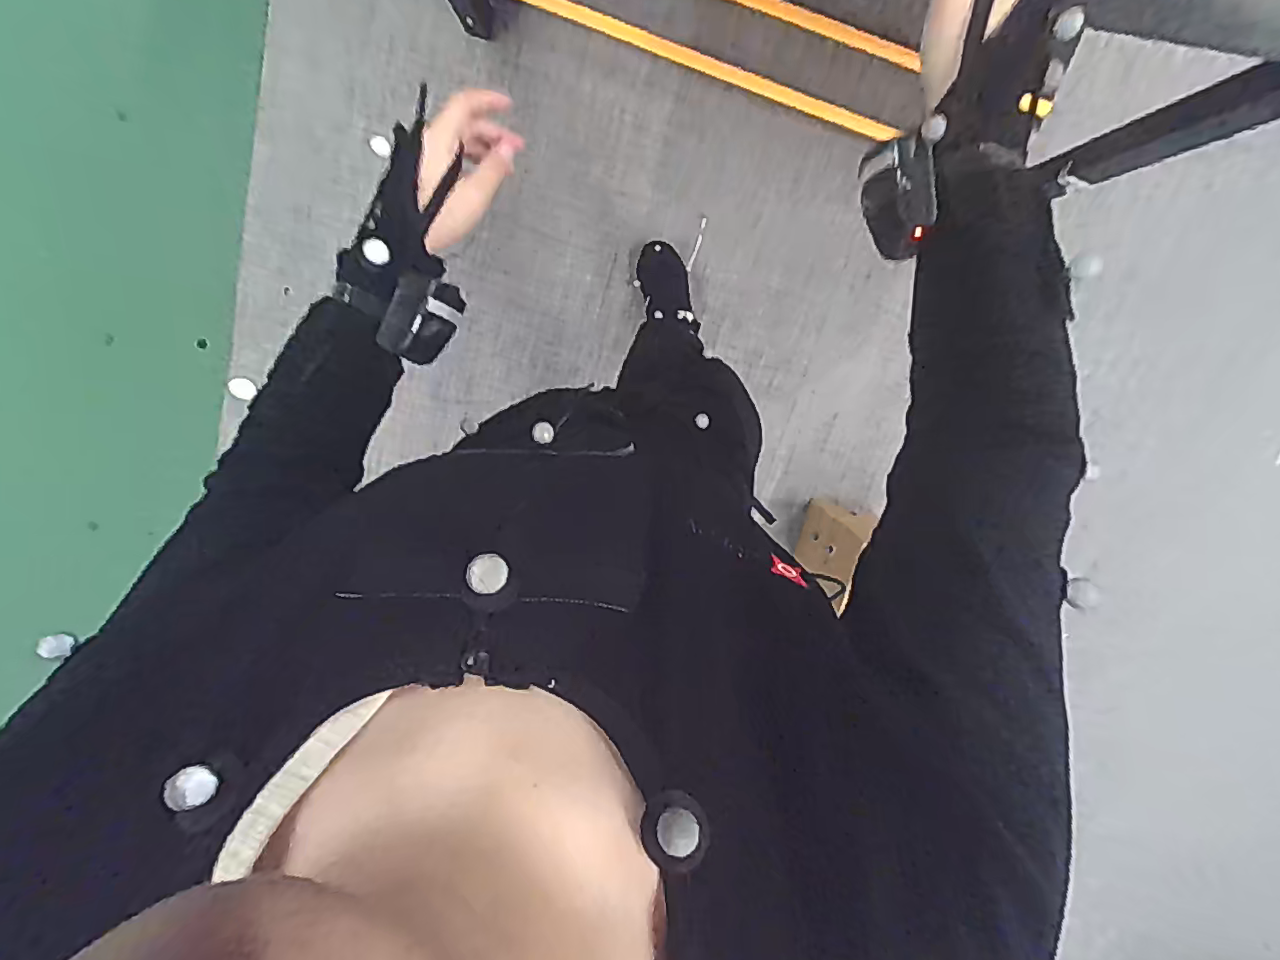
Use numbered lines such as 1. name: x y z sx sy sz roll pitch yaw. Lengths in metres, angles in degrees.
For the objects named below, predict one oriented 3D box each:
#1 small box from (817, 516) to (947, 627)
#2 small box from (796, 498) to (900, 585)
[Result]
1. small box: 0.505 0.187 1.154 0.179 0.176 0.168 12 103 -2
2. small box: 0.497 0.156 1.315 0.168 0.176 0.179 12 104 -3
